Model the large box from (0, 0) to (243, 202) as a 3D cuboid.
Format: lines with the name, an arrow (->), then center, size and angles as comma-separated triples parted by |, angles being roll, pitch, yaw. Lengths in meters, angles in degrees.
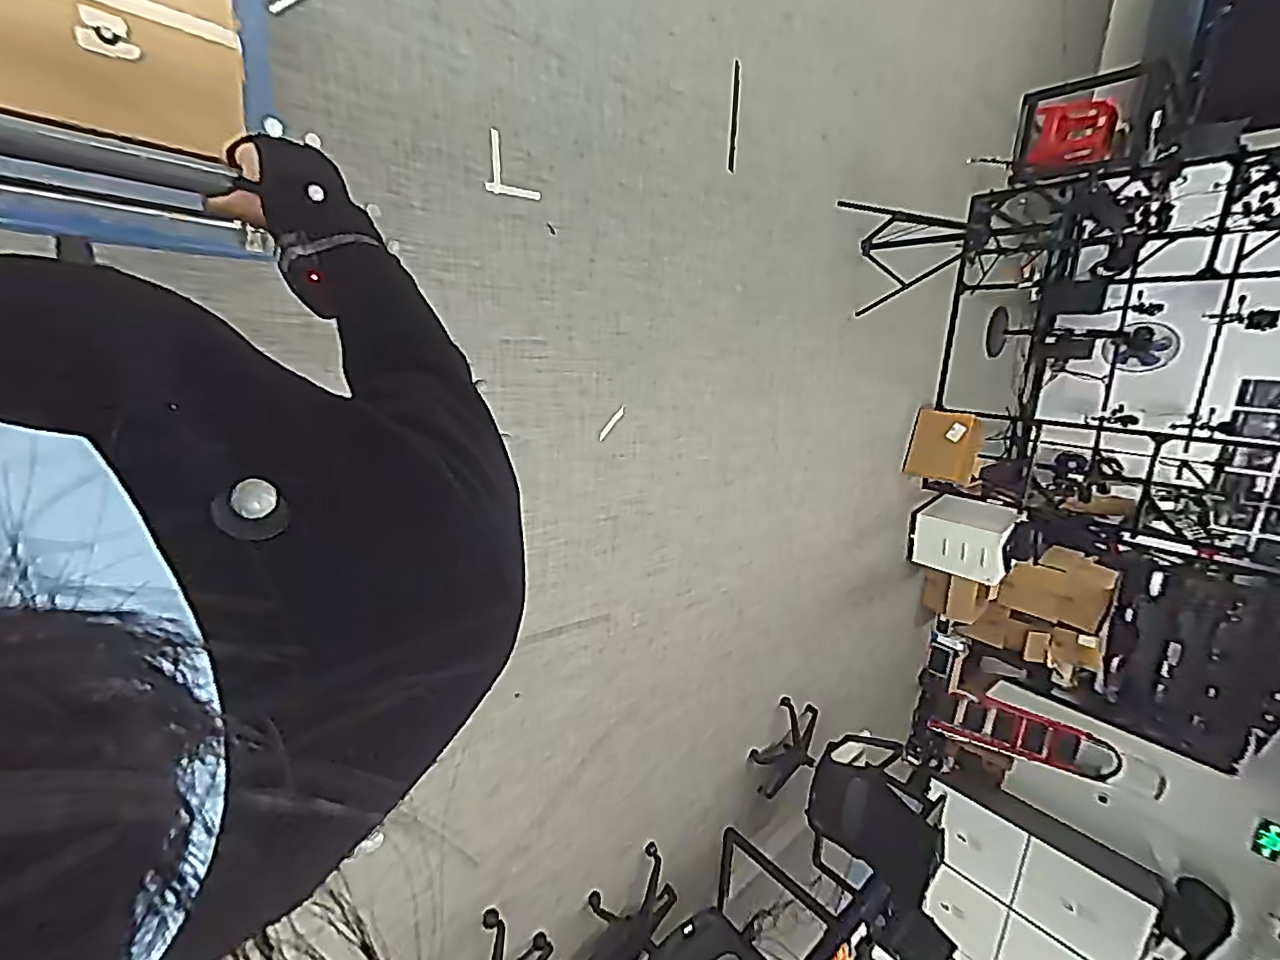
large box -> -0.816, -0.607, 0.726 | 0.408, 0.320, 0.320 | -8, 108, -42
